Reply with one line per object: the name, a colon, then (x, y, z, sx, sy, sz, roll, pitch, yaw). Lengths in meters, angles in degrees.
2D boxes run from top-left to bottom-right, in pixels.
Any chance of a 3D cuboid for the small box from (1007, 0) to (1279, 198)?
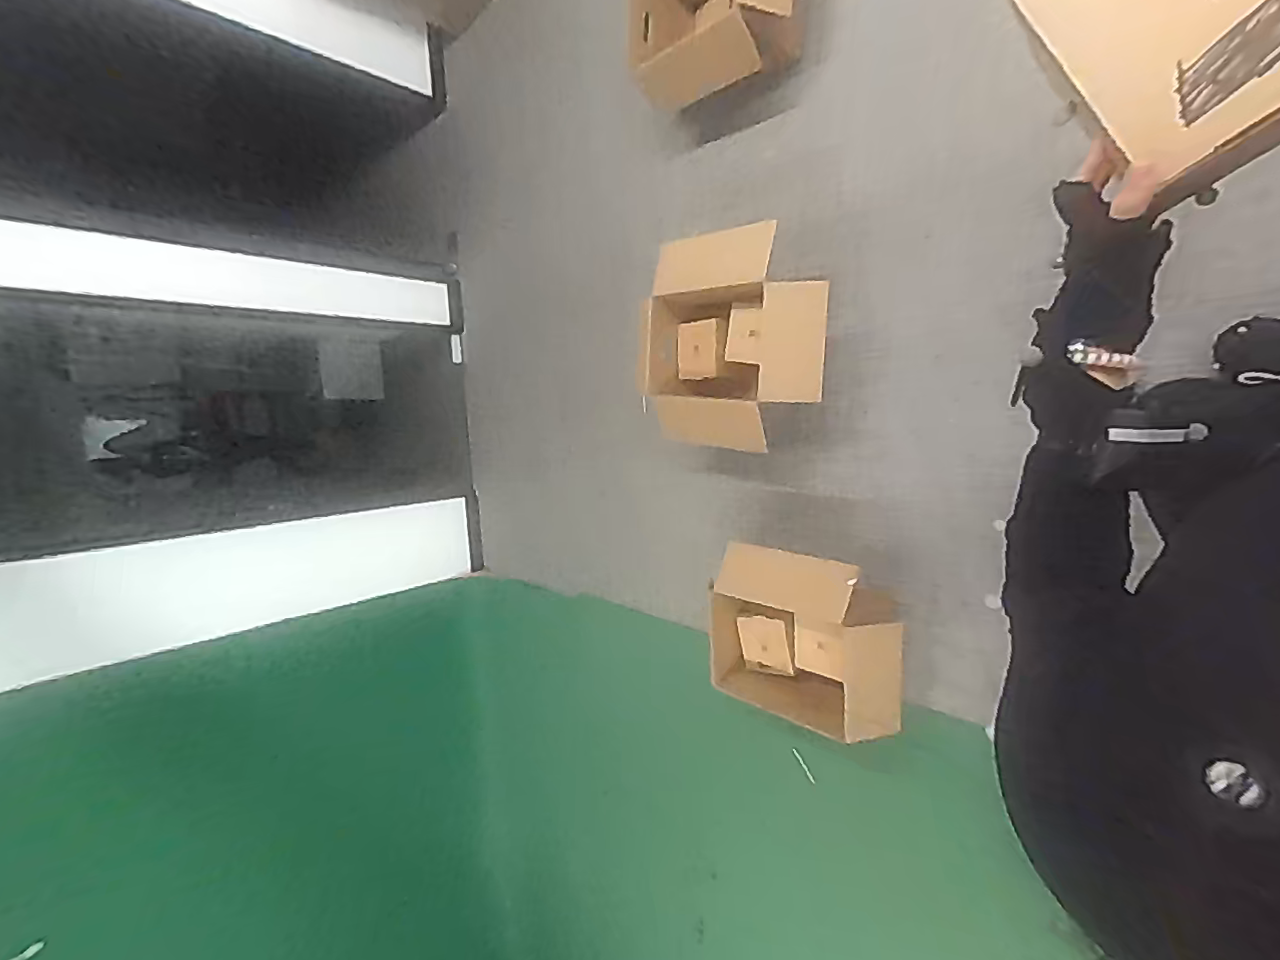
small box: (0.393, -0.320, 0.366, 0.168, 0.176, 0.179, -35, 78, 43)
